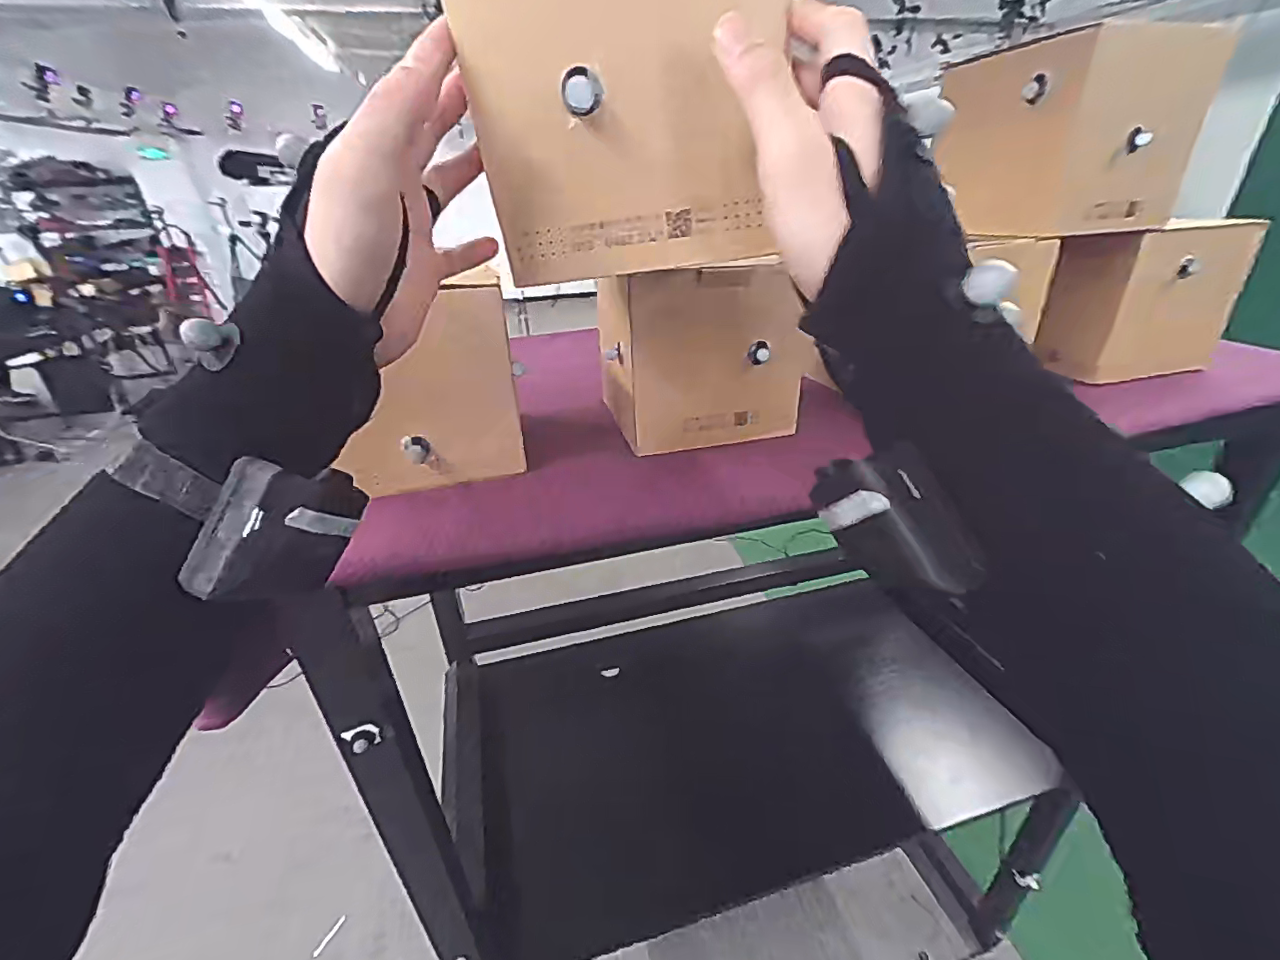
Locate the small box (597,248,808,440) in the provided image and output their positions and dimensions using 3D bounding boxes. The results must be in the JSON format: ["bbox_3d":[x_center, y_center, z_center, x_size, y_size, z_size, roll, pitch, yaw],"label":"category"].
[{"bbox_3d":[0.053,-0.145,0.561,0.168,0.176,0.179,-7,27,-11],"label":"small box"}]

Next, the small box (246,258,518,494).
[{"bbox_3d":[-0.209,-0.103,0.494,0.179,0.176,0.168,-9,27,-15],"label":"small box"}]

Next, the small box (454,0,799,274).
[{"bbox_3d":[0.005,-0.238,0.344,0.168,0.176,0.179,-5,33,7],"label":"small box"}]

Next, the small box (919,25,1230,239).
[{"bbox_3d":[0.438,-0.356,0.579,0.168,0.176,0.179,-9,27,-14],"label":"small box"}]

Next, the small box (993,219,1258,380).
[{"bbox_3d":[0.585,-0.231,0.683,0.179,0.176,0.168,-9,28,-12],"label":"small box"}]
